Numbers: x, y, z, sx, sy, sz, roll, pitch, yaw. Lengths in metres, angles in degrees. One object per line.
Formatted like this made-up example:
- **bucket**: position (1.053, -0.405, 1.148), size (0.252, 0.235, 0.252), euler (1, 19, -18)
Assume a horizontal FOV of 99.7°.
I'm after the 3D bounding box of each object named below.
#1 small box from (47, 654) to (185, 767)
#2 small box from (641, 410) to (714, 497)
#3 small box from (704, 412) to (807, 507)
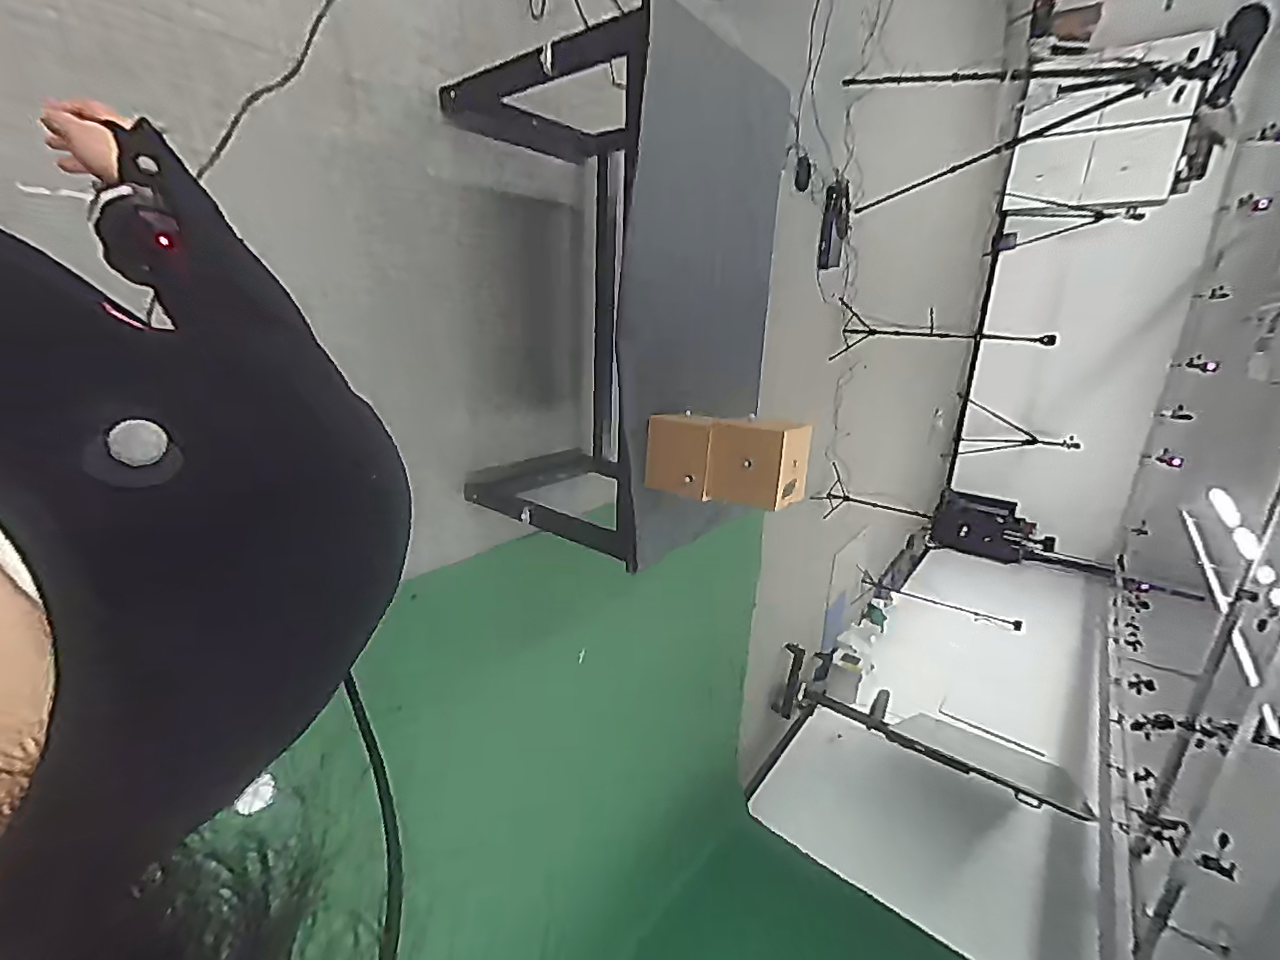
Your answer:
- **small box**: position (-1.053, 0.483, 1.099), size (0.179, 0.176, 0.168), euler (-16, 113, -50)
- **small box**: position (0.117, -0.070, 1.306), size (0.168, 0.176, 0.179), euler (-13, 111, -53)
- **small box**: position (0.256, -0.053, 1.218), size (0.168, 0.176, 0.179), euler (-15, 112, -52)
